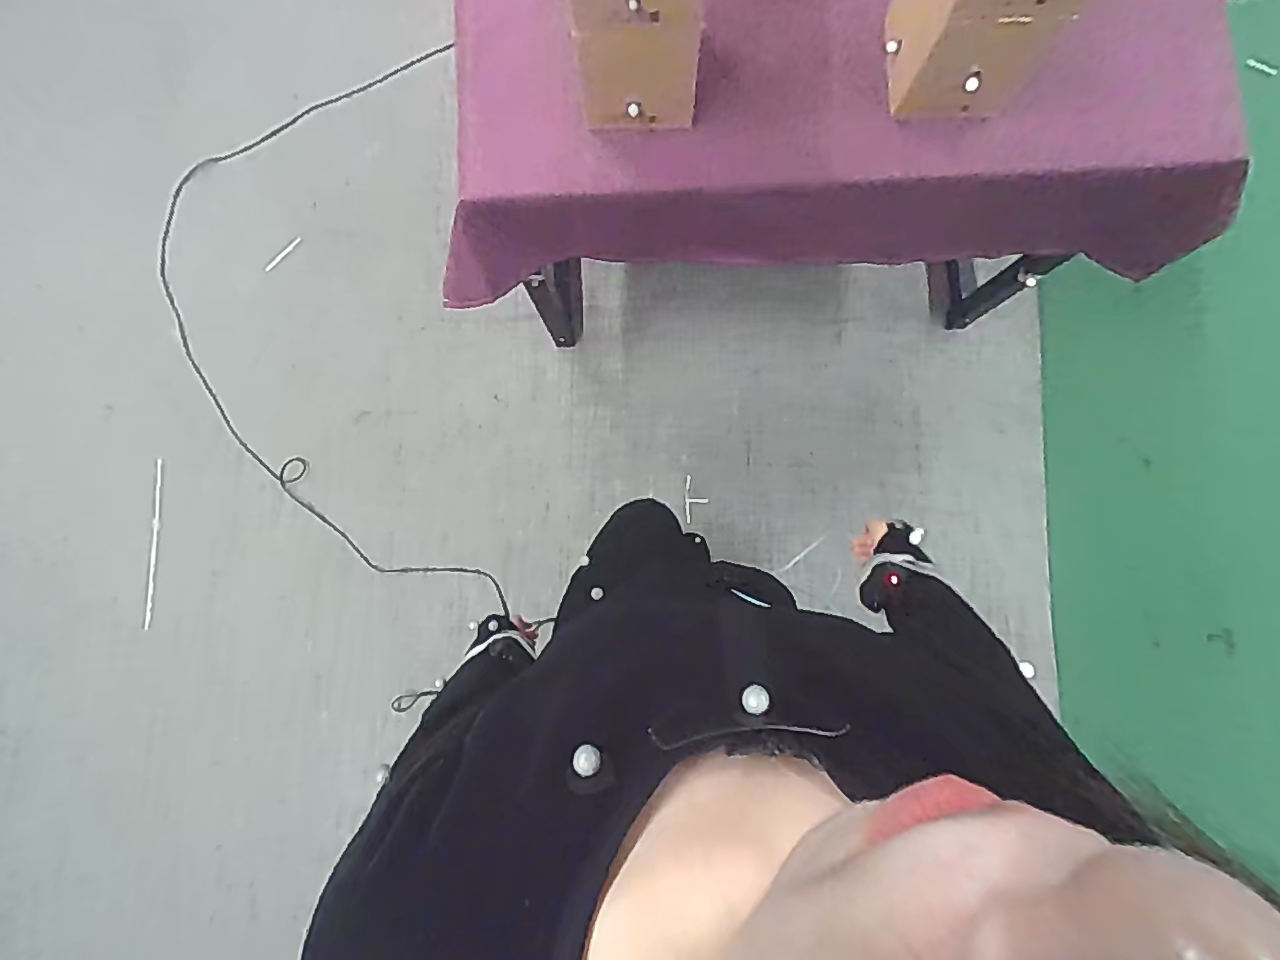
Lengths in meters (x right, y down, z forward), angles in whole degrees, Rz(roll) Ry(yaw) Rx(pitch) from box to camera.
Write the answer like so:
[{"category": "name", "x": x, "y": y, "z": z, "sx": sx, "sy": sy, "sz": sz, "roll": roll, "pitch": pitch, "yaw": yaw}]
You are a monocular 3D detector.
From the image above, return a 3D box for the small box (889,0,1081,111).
[{"category": "small box", "x": 0.468, "y": -0.654, "z": 0.758, "sx": 0.168, "sy": 0.176, "sz": 0.179, "roll": -1, "pitch": 86, "yaw": 1}]

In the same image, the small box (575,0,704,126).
[{"category": "small box", "x": 0.001, "y": -0.645, "z": 0.766, "sx": 0.168, "sy": 0.176, "sz": 0.179, "roll": 1, "pitch": 86, "yaw": 1}]

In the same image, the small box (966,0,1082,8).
[{"category": "small box", "x": 0.461, "y": -0.668, "z": 0.593, "sx": 0.168, "sy": 0.176, "sz": 0.179, "roll": -1, "pitch": 85, "yaw": 1}]
